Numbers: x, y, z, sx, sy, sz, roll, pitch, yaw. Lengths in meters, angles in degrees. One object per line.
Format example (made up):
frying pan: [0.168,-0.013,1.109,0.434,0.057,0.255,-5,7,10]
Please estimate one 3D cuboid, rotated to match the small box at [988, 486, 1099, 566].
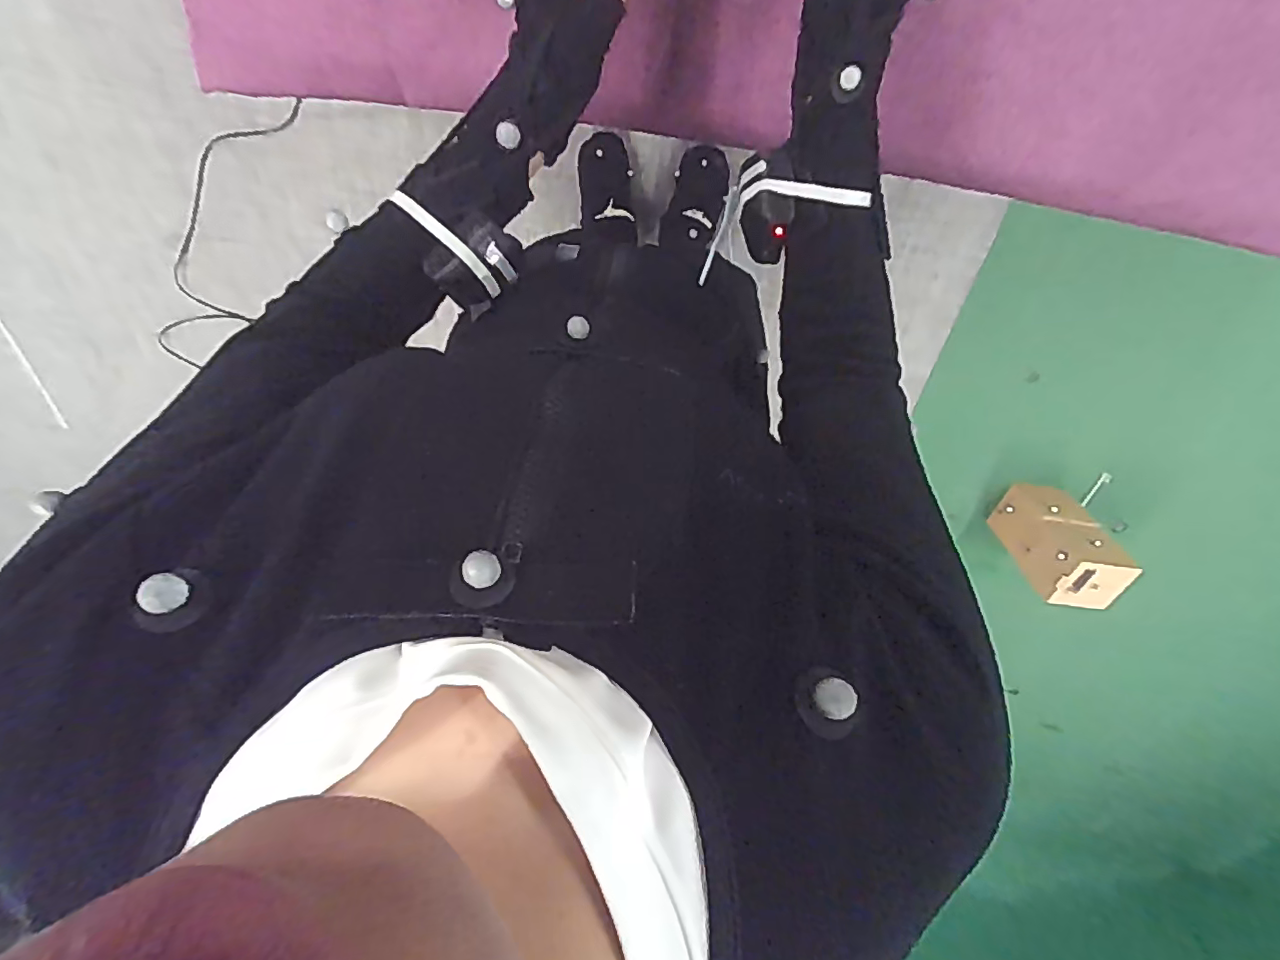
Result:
small box: [1.221,0.136,1.650,0.179,0.176,0.168,9,127,-3]
